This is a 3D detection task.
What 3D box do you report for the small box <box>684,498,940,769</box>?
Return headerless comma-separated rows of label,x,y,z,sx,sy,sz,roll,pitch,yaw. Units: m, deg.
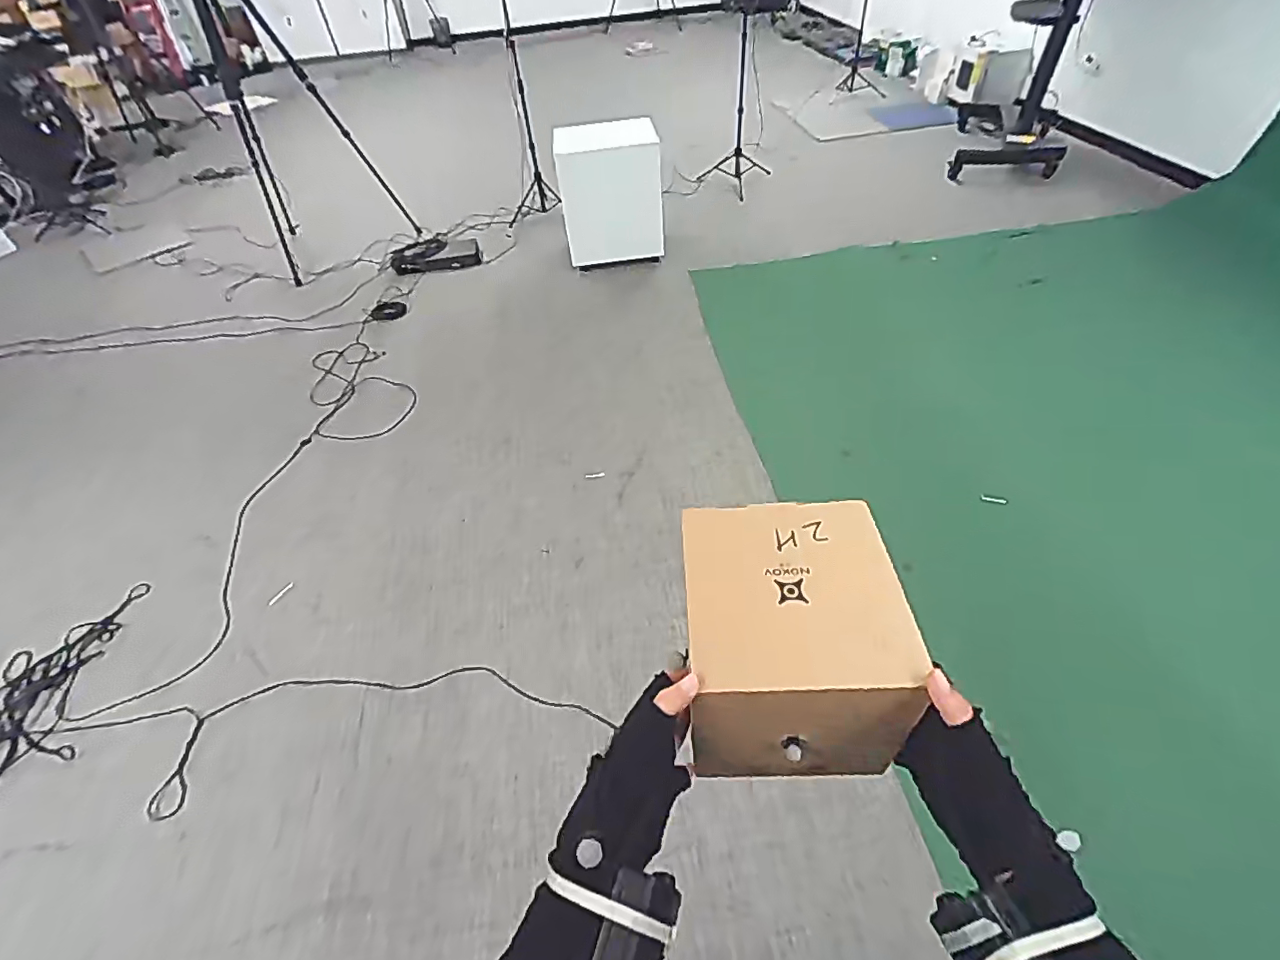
small box,0.126,0.137,0.474,0.168,0.176,0.179,-3,43,3
